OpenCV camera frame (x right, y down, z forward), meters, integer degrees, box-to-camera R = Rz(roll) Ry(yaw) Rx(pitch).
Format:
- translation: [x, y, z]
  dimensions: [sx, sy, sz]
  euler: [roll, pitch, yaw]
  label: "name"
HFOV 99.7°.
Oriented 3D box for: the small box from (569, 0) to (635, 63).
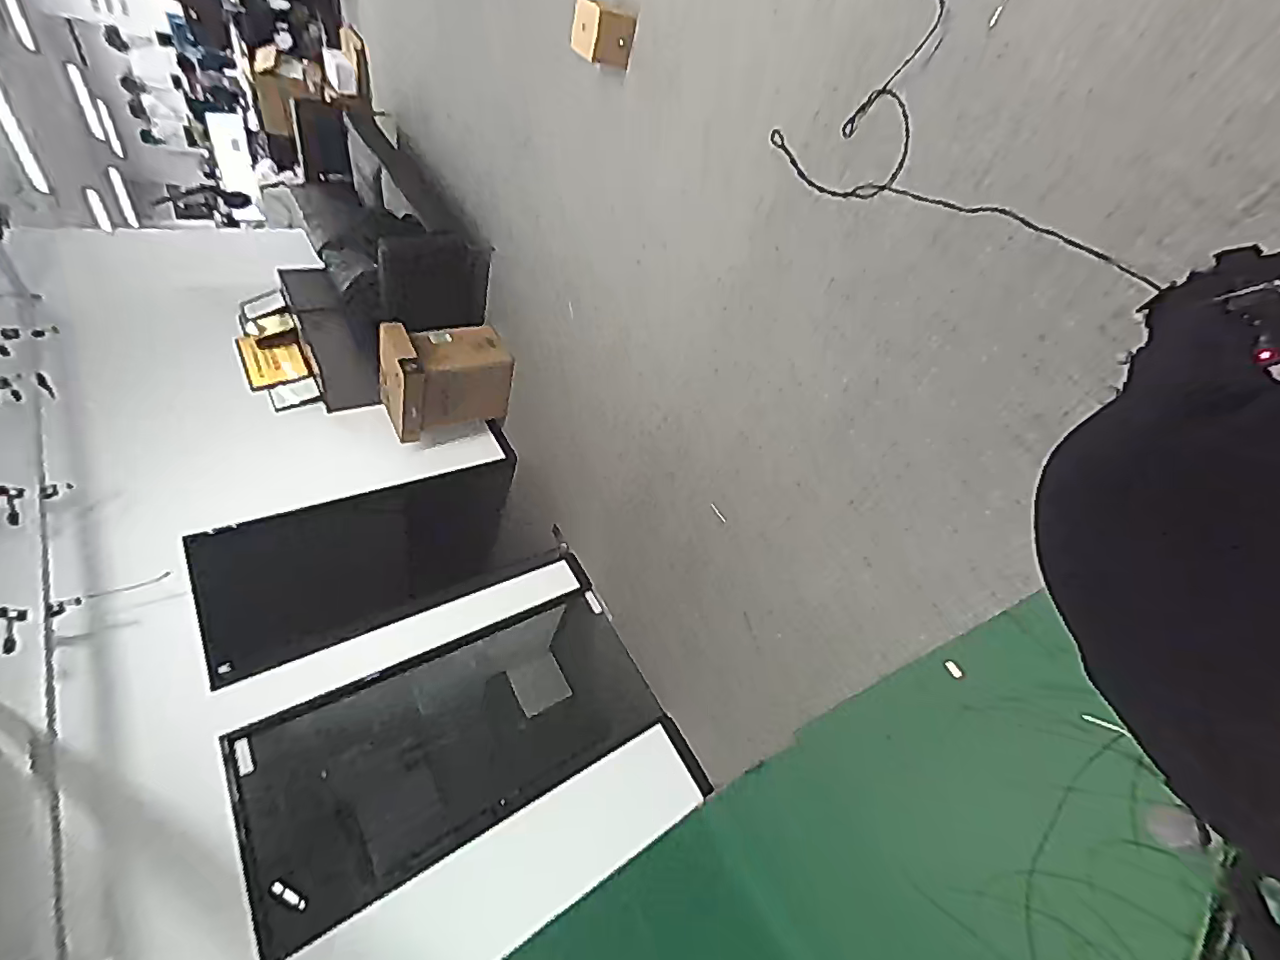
- translation: [-0.147, -1.724, 2.062]
  dimensions: [0.179, 0.176, 0.168]
  euler: [53, 144, 27]
  label: "small box"
